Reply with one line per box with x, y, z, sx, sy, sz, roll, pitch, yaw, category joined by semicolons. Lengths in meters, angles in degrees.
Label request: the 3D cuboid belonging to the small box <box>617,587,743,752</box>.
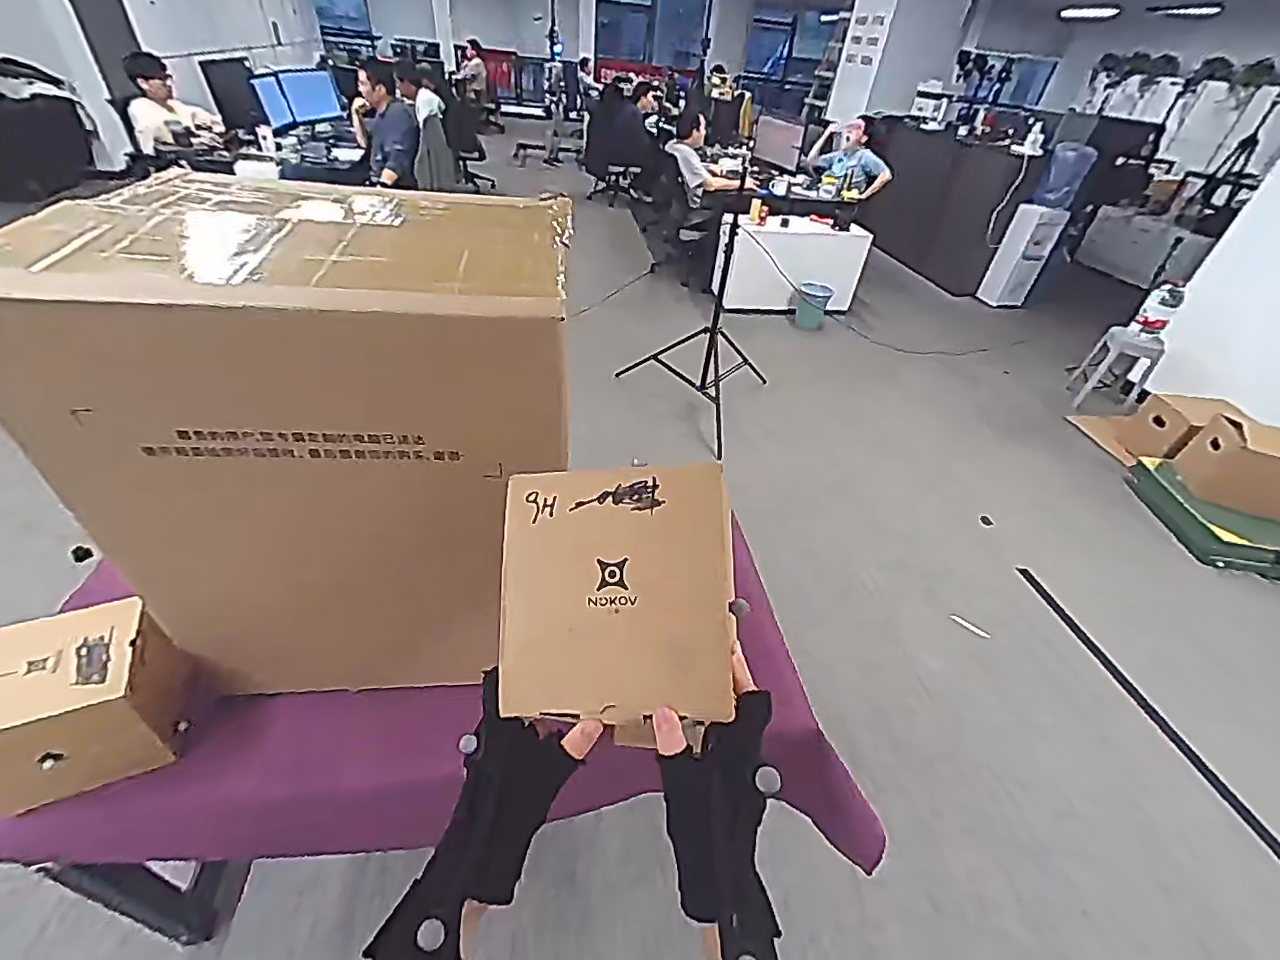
0.056;0.291;0.829;0.168;0.176;0.179;6;37;-1;small box
